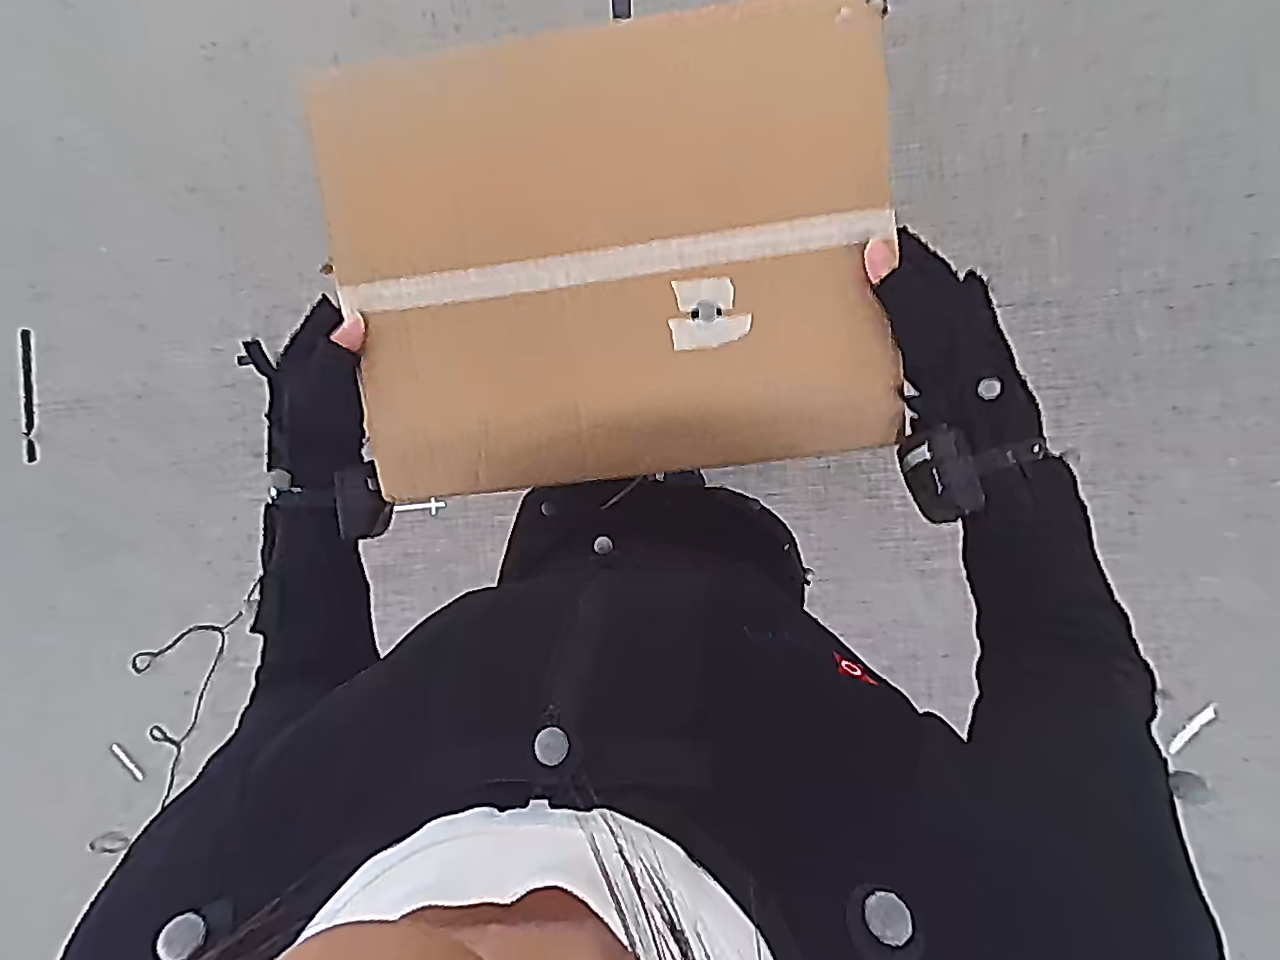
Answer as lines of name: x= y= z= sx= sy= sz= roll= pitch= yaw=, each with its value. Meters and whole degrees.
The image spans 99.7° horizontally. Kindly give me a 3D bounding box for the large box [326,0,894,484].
large box: x=-0.014 y=-0.191 z=0.555 sx=0.408 sy=0.320 sz=0.320 roll=-7 pitch=99 yaw=4
